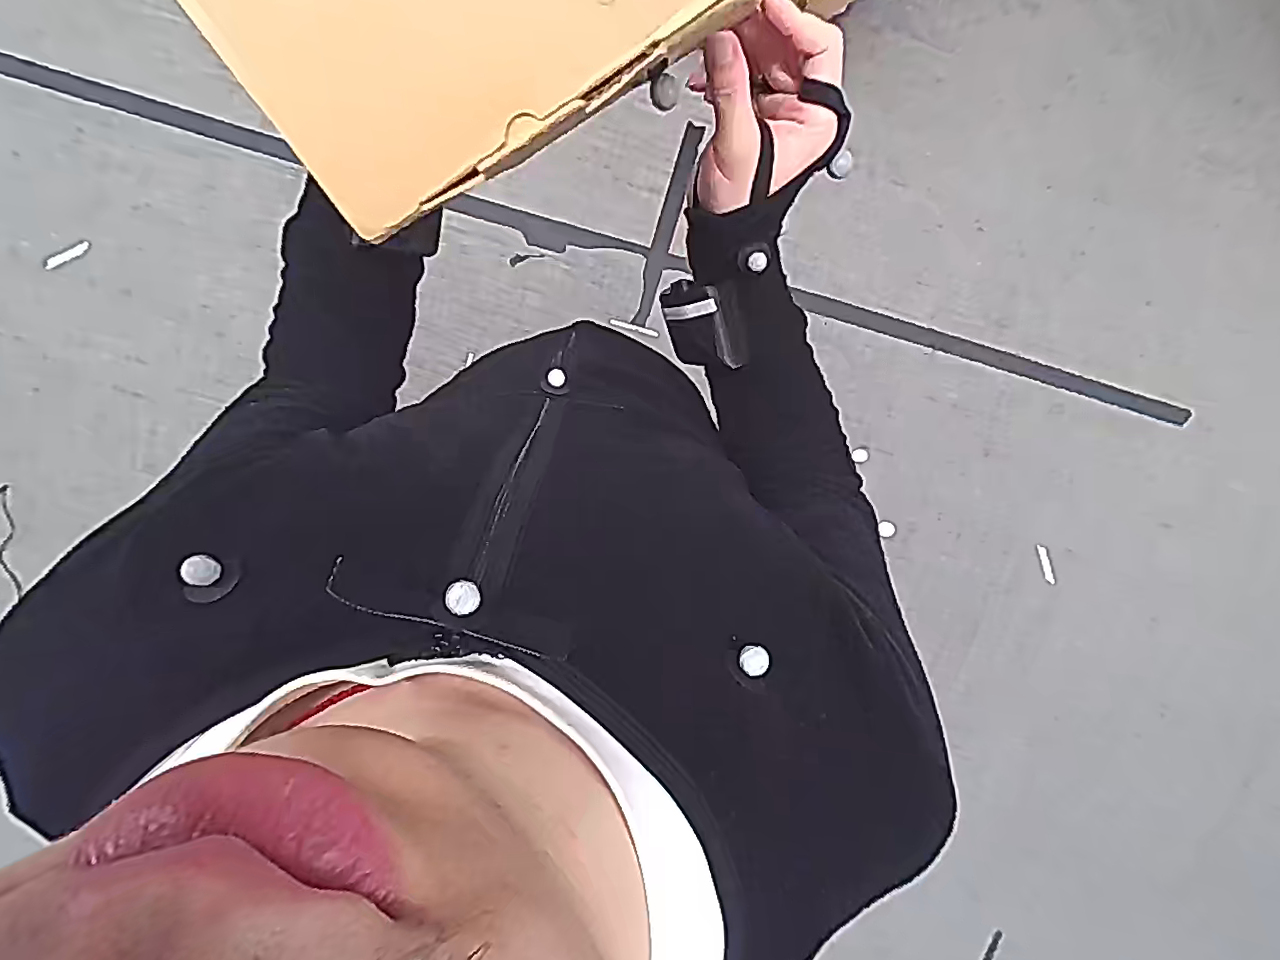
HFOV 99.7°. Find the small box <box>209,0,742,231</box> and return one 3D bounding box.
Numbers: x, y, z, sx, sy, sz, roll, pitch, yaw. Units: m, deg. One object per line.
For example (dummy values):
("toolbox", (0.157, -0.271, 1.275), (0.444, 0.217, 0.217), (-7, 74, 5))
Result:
("small box", (-0.063, -0.238, 0.212), (0.168, 0.176, 0.179), (-18, 123, 24))
